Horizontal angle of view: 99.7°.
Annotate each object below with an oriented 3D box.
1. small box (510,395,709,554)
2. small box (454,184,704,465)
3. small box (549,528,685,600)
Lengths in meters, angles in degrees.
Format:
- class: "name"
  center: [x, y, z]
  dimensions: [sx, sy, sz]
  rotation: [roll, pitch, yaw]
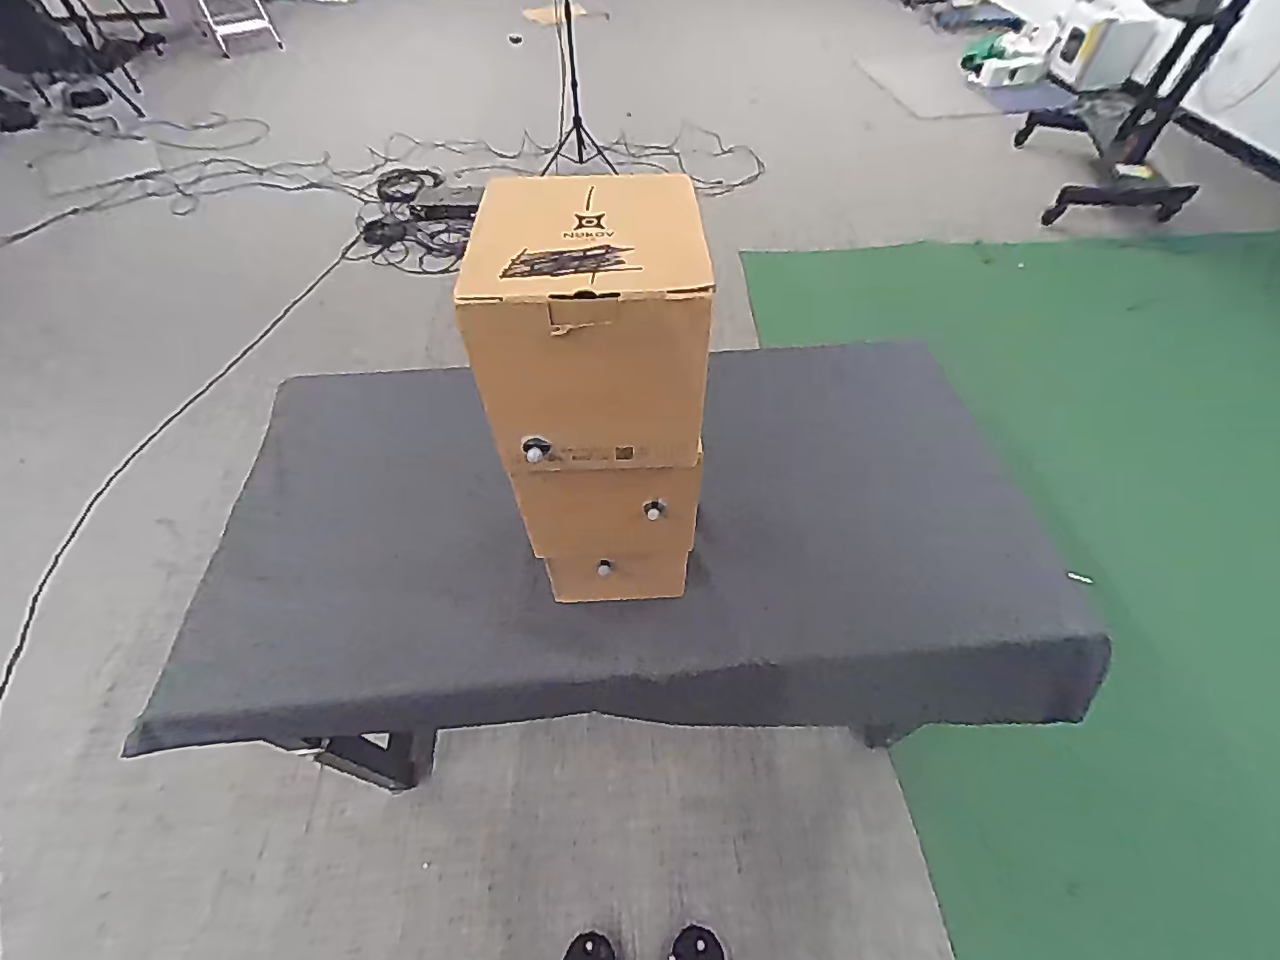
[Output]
- class: "small box"
  center: [-0.035, -0.036, 0.576]
  dimensions: [0.179, 0.176, 0.168]
  rotation: [-5, 52, -4]
- class: "small box"
  center: [-0.040, -0.125, 0.457]
  dimensions: [0.168, 0.176, 0.179]
  rotation: [-1, 51, -1]
- class: "small box"
  center: [-0.036, 0.051, 0.737]
  dimensions: [0.179, 0.176, 0.168]
  rotation: [-4, 51, -4]
